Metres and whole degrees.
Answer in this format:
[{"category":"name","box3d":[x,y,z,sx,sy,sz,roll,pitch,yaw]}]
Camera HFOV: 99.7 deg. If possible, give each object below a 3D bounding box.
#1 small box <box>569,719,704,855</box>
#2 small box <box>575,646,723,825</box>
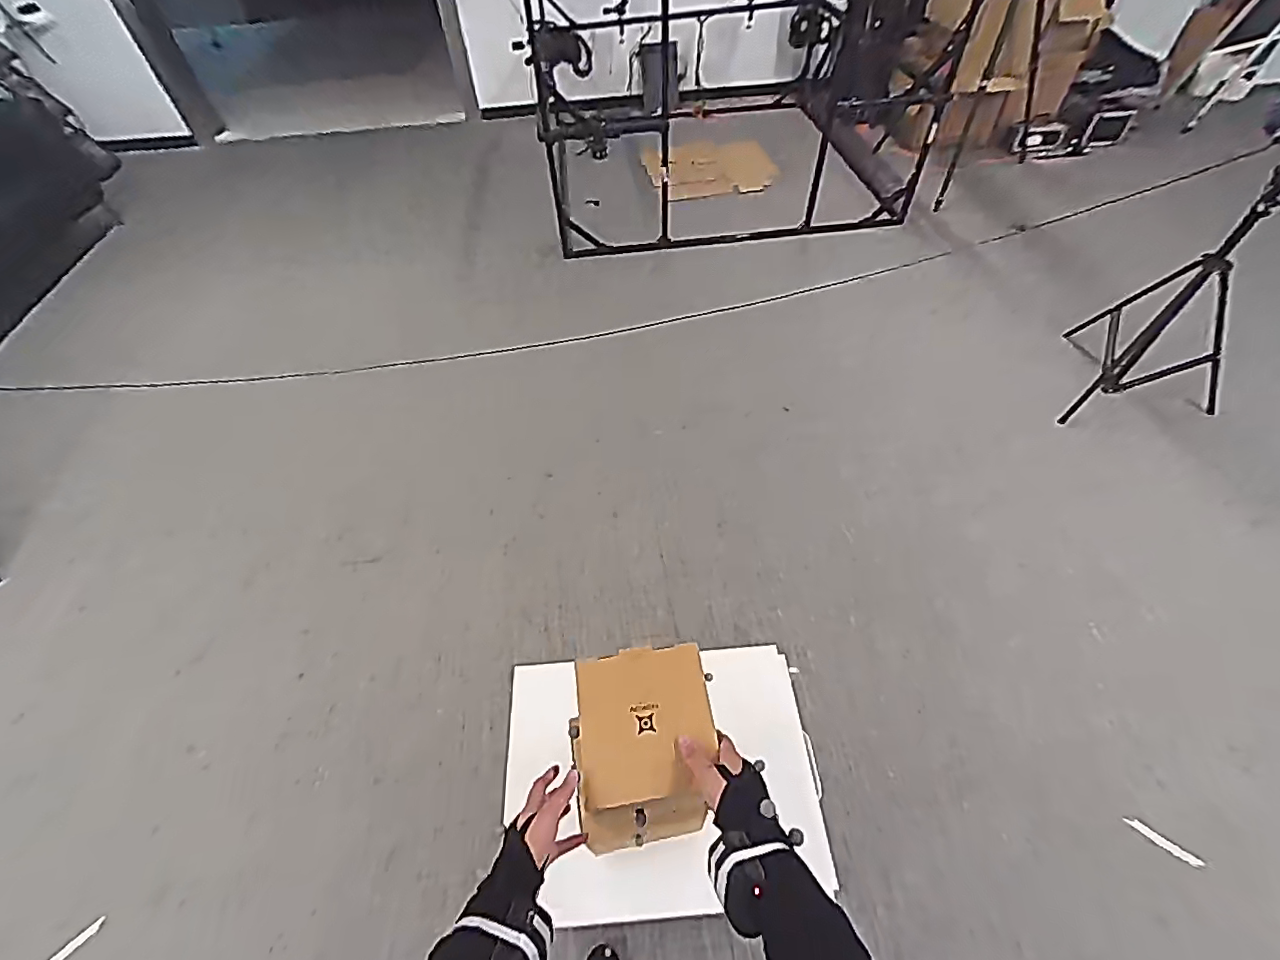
[{"category":"small box","box3d":[-0.006,0.465,0.842,0.179,0.176,0.168,-9,51,-6]},{"category":"small box","box3d":[0.009,0.348,0.727,0.168,0.176,0.179,-7,50,-4]}]
